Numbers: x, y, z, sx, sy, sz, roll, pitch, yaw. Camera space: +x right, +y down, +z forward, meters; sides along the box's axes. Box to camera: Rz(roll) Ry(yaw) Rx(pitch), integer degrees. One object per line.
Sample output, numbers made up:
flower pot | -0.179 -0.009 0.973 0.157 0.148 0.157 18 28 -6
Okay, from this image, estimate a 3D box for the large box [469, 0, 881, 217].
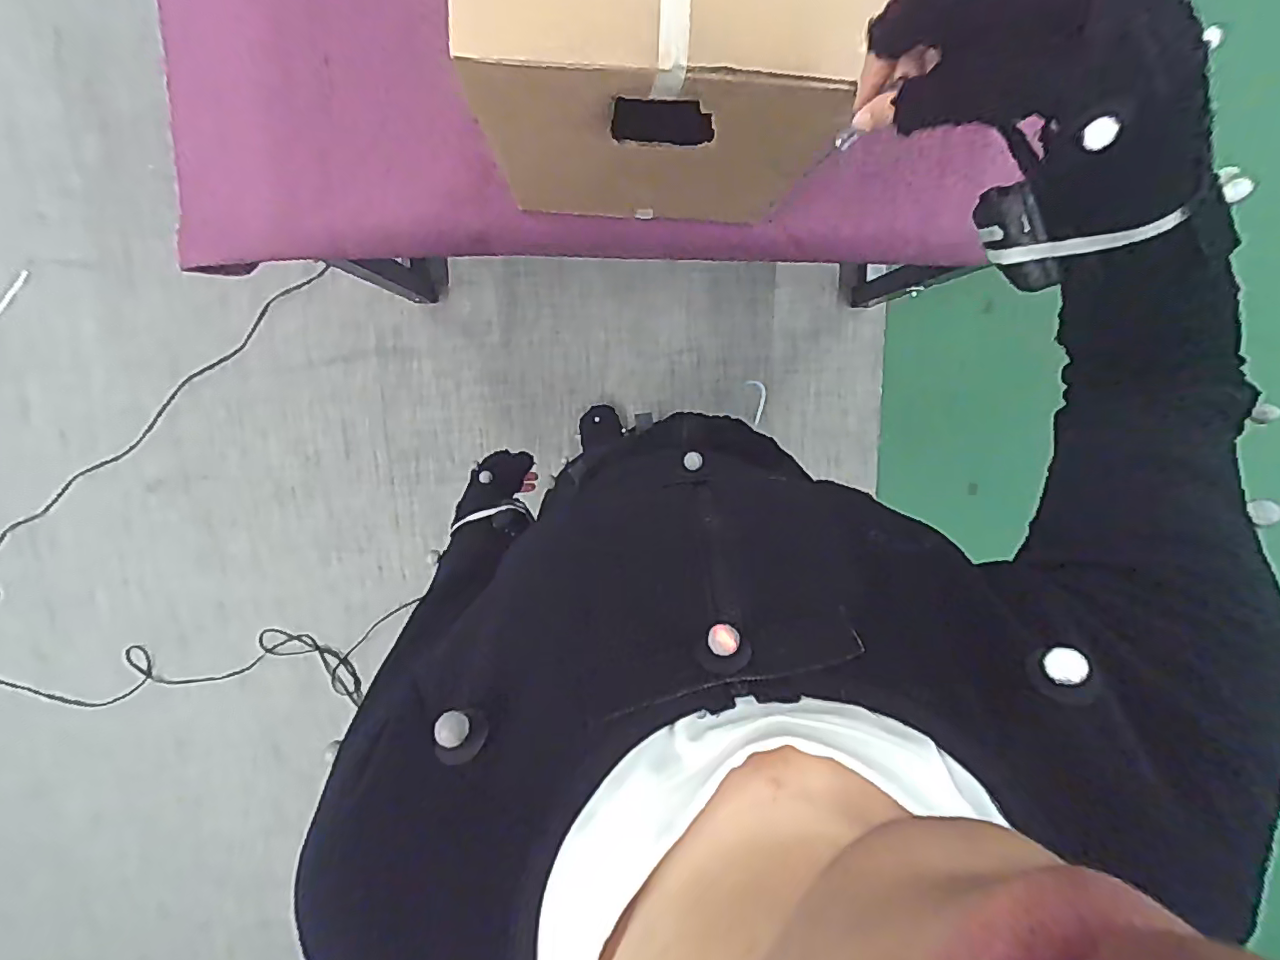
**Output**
large box | 0.023 -0.519 0.519 0.320 0.320 0.408 2 99 -3
